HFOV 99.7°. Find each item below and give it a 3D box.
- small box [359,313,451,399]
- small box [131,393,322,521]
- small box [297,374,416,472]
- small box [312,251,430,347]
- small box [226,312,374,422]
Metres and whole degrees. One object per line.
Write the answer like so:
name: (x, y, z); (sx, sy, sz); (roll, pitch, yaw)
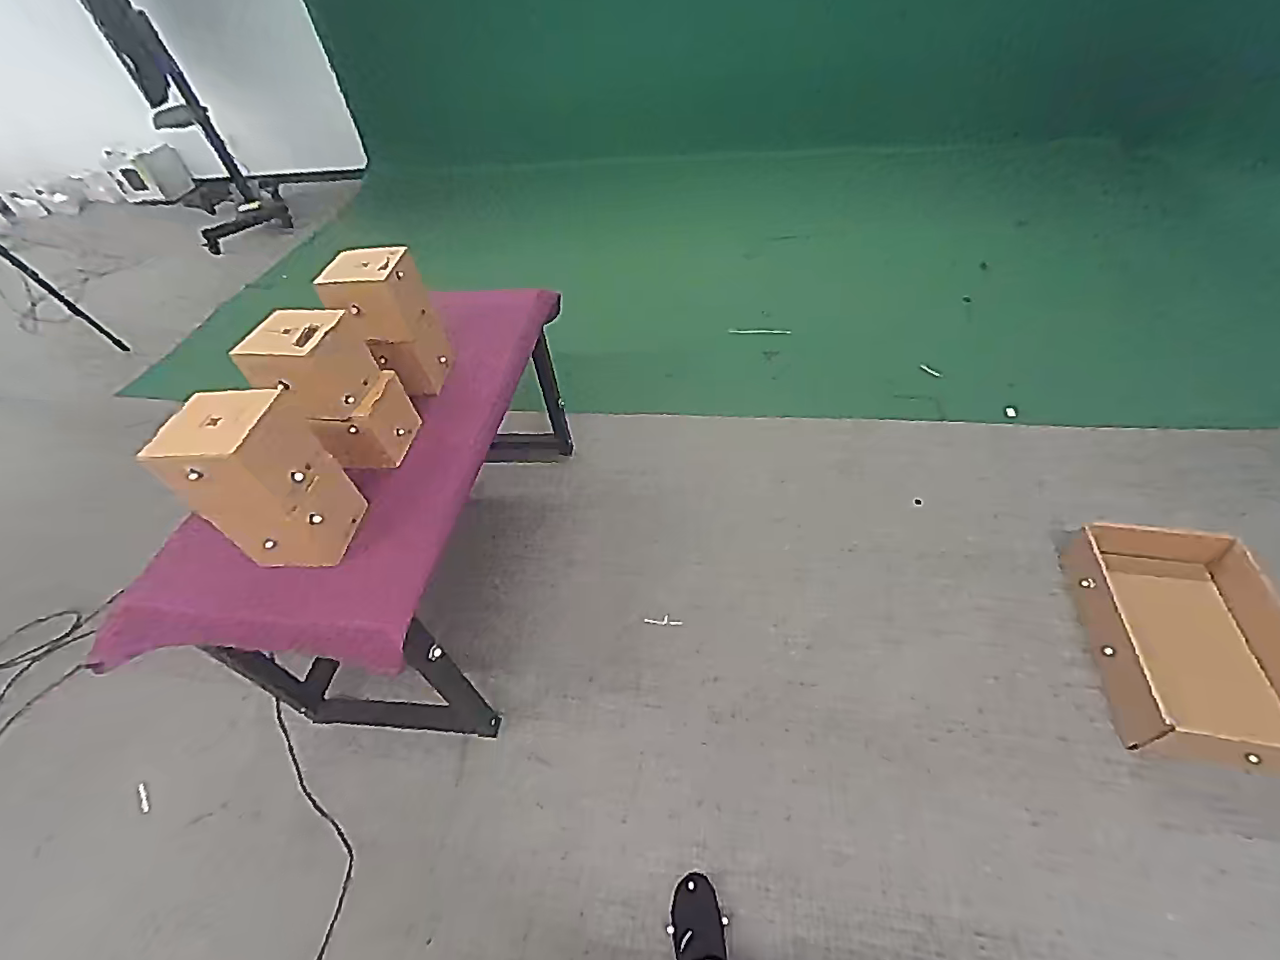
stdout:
small box: (-0.638, -0.331, 1.454); (0.179, 0.176, 0.168); (0, 48, 6)
small box: (-0.725, -0.039, 0.973); (0.179, 0.176, 0.168); (-1, 48, 6)
small box: (-0.666, -0.133, 1.279); (0.179, 0.176, 0.168); (1, 48, 6)
small box: (-0.653, -0.442, 1.333); (0.179, 0.176, 0.168); (-2, 48, 6)
small box: (-0.711, -0.239, 1.158); (0.179, 0.176, 0.168); (3, 48, 10)
